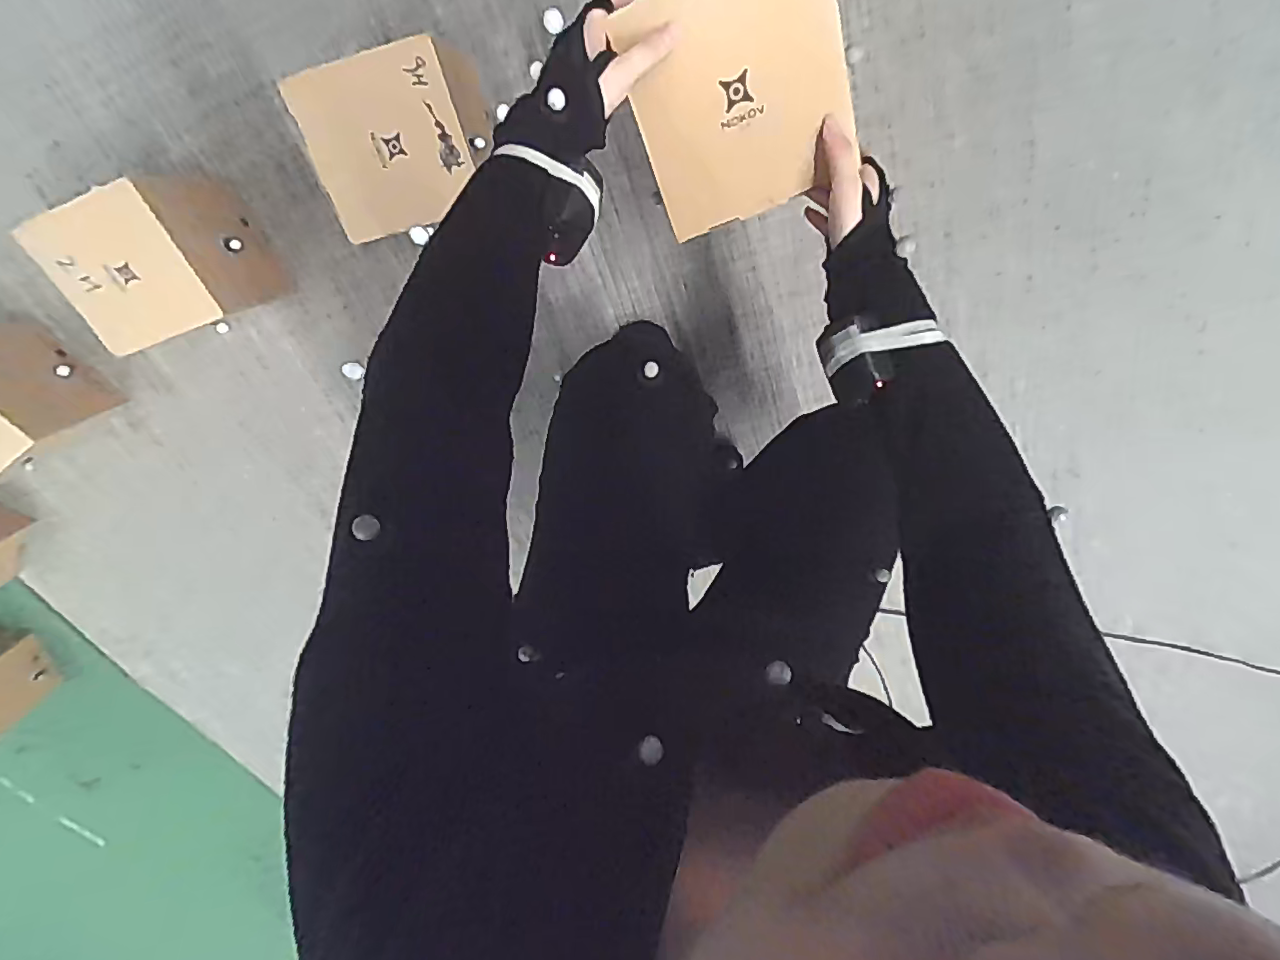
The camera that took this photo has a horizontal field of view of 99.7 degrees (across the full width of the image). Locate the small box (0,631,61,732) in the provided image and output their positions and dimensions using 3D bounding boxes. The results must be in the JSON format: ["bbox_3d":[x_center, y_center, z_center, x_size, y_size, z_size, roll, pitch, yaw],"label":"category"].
[{"bbox_3d":[-1.408,0.432,1.136,0.179,0.176,0.168,5,119,-2],"label":"small box"}]

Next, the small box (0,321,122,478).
[{"bbox_3d":[-0.971,-0.117,0.826,0.179,0.176,0.168,-28,116,14],"label":"small box"}]

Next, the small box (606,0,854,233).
[{"bbox_3d":[0.086,-0.362,0.500,0.168,0.176,0.179,-13,124,19],"label":"small box"}]

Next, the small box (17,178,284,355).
[{"bbox_3d":[-0.627,-0.292,0.728,0.179,0.176,0.168,-16,117,9],"label":"small box"}]

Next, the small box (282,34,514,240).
[{"bbox_3d":[-0.276,-0.406,0.664,0.179,0.176,0.168,-11,119,7],"label":"small box"}]
